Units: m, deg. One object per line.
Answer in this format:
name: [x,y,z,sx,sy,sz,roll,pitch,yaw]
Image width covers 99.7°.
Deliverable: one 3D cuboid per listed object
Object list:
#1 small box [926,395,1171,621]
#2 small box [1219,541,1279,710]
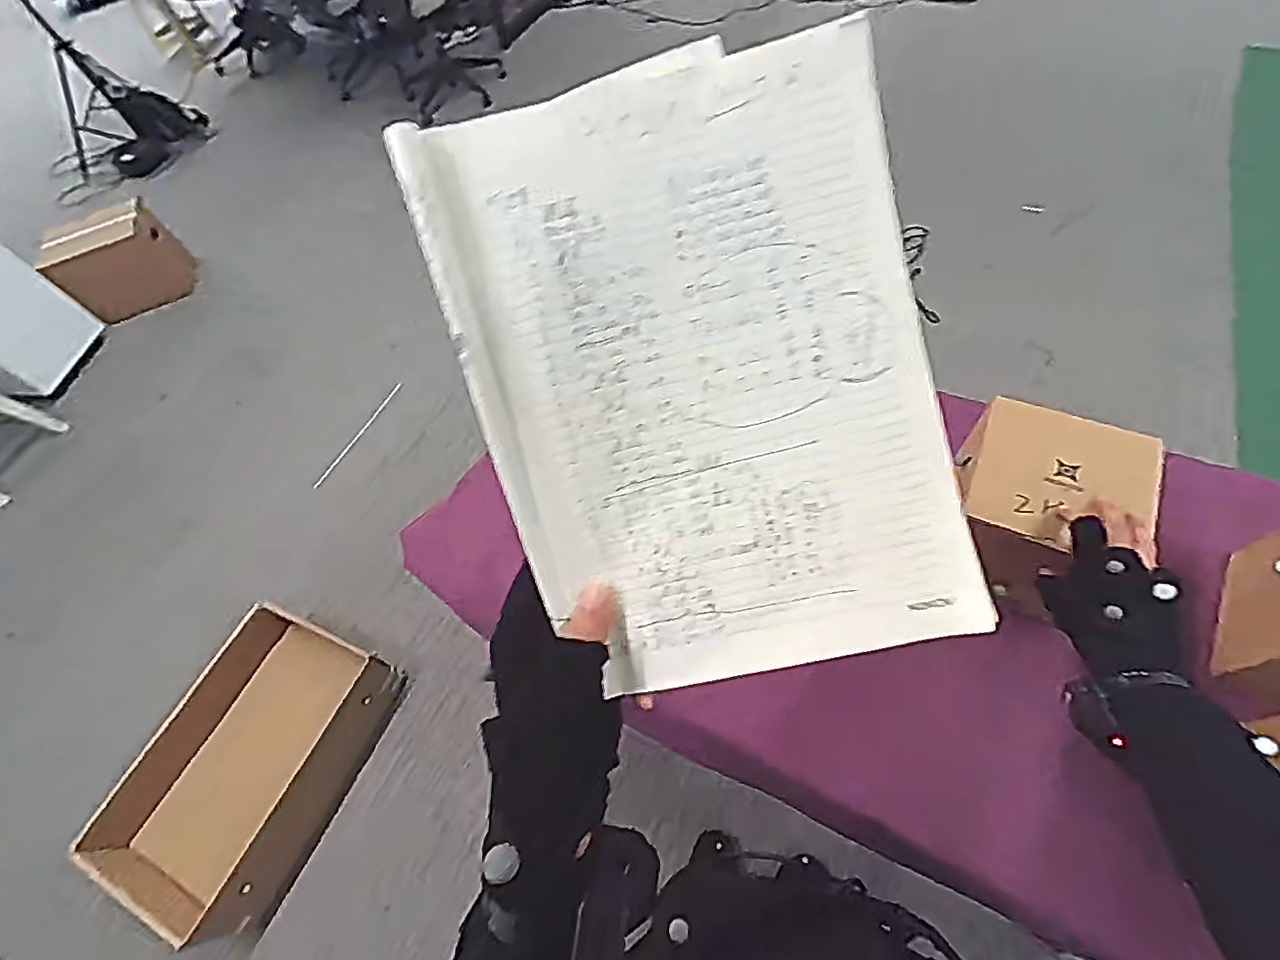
small box: [0.463,0.037,0.636,0.168,0.176,0.179,22,66,20]
small box: [0.734,0.148,0.529,0.168,0.176,0.179,27,67,23]
